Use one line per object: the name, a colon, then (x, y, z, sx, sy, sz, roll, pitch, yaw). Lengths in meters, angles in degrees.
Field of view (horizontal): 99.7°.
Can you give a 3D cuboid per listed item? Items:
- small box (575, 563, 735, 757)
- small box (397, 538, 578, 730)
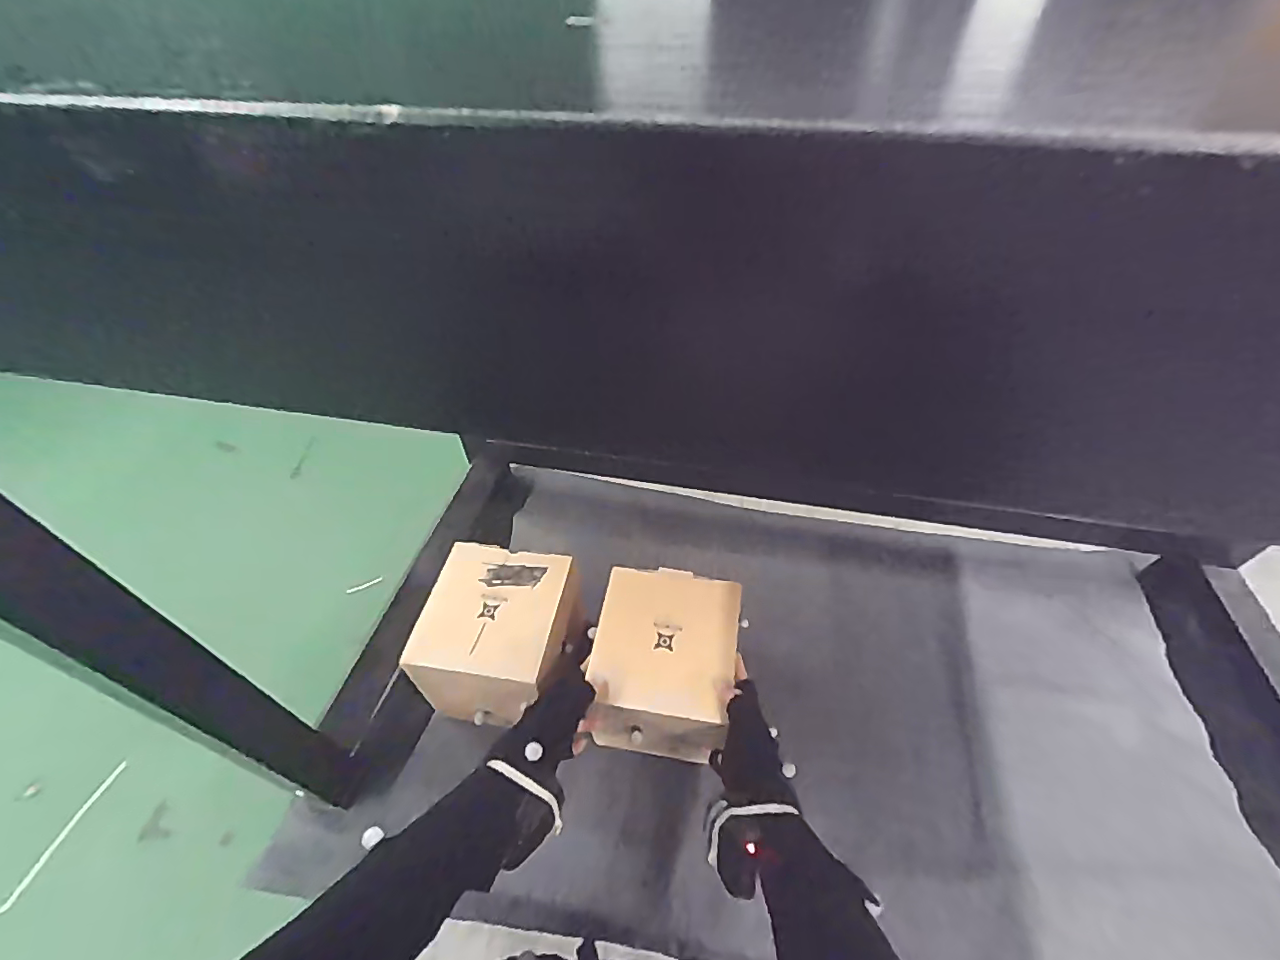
small box: (0.028, 0.231, 0.689, 0.168, 0.176, 0.179, 6, 48, 9)
small box: (-0.185, 0.205, 0.722, 0.168, 0.176, 0.179, 7, 47, 8)
